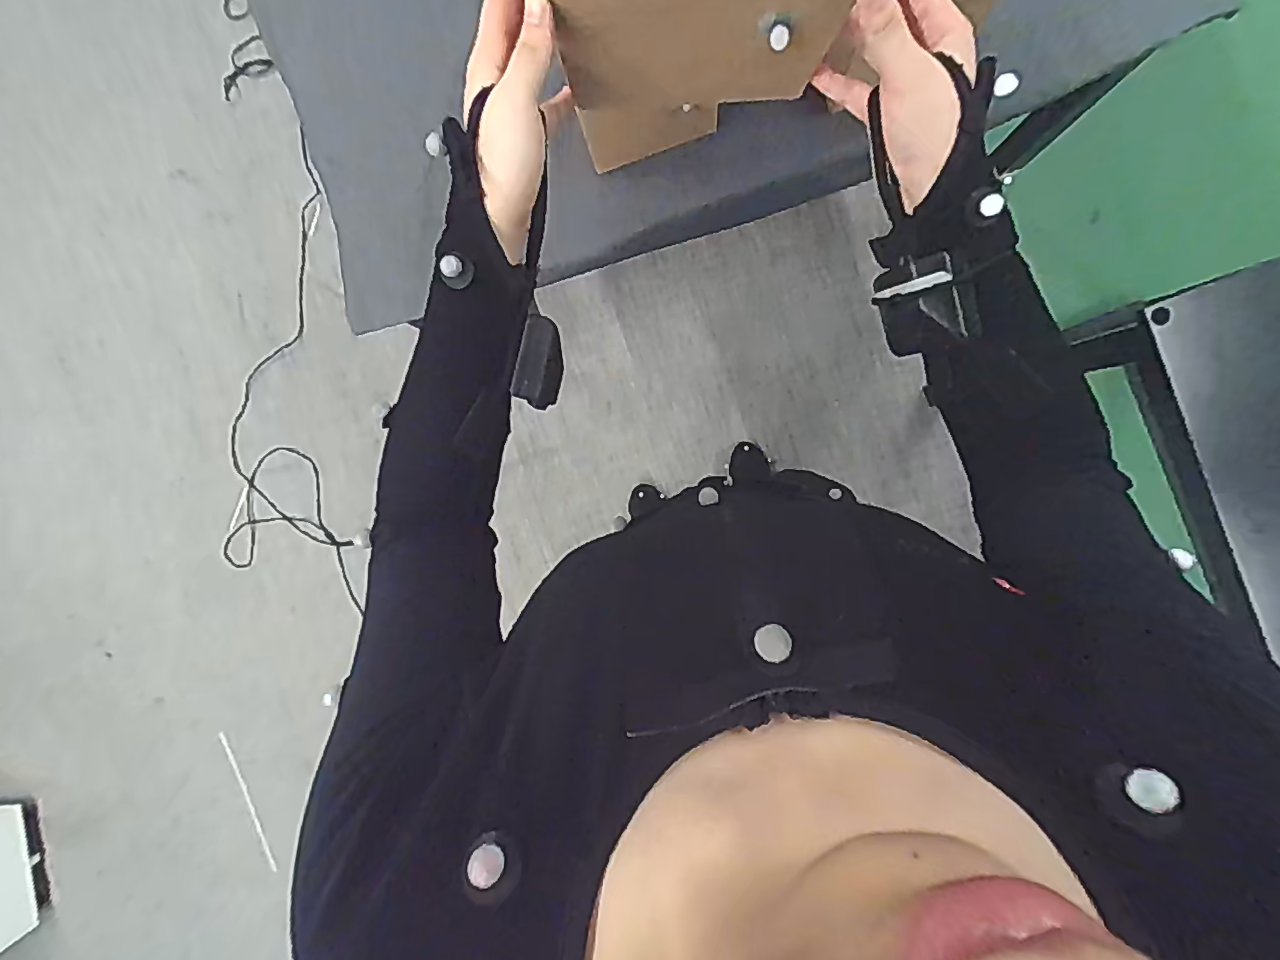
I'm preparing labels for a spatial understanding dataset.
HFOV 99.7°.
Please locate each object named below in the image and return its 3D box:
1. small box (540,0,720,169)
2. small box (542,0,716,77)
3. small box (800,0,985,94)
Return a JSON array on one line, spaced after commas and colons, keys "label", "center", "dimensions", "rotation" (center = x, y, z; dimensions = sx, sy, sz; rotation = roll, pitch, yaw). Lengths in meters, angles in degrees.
[{"label": "small box", "center": [-0.010, -0.530, 0.668], "dimensions": [0.179, 0.176, 0.168], "rotation": [-18, 89, 8]}, {"label": "small box", "center": [-0.030, -0.528, 0.505], "dimensions": [0.168, 0.176, 0.179], "rotation": [-21, 87, 6]}, {"label": "small box", "center": [0.296, -0.597, 0.629], "dimensions": [0.168, 0.176, 0.179], "rotation": [-17, 90, 7]}]
